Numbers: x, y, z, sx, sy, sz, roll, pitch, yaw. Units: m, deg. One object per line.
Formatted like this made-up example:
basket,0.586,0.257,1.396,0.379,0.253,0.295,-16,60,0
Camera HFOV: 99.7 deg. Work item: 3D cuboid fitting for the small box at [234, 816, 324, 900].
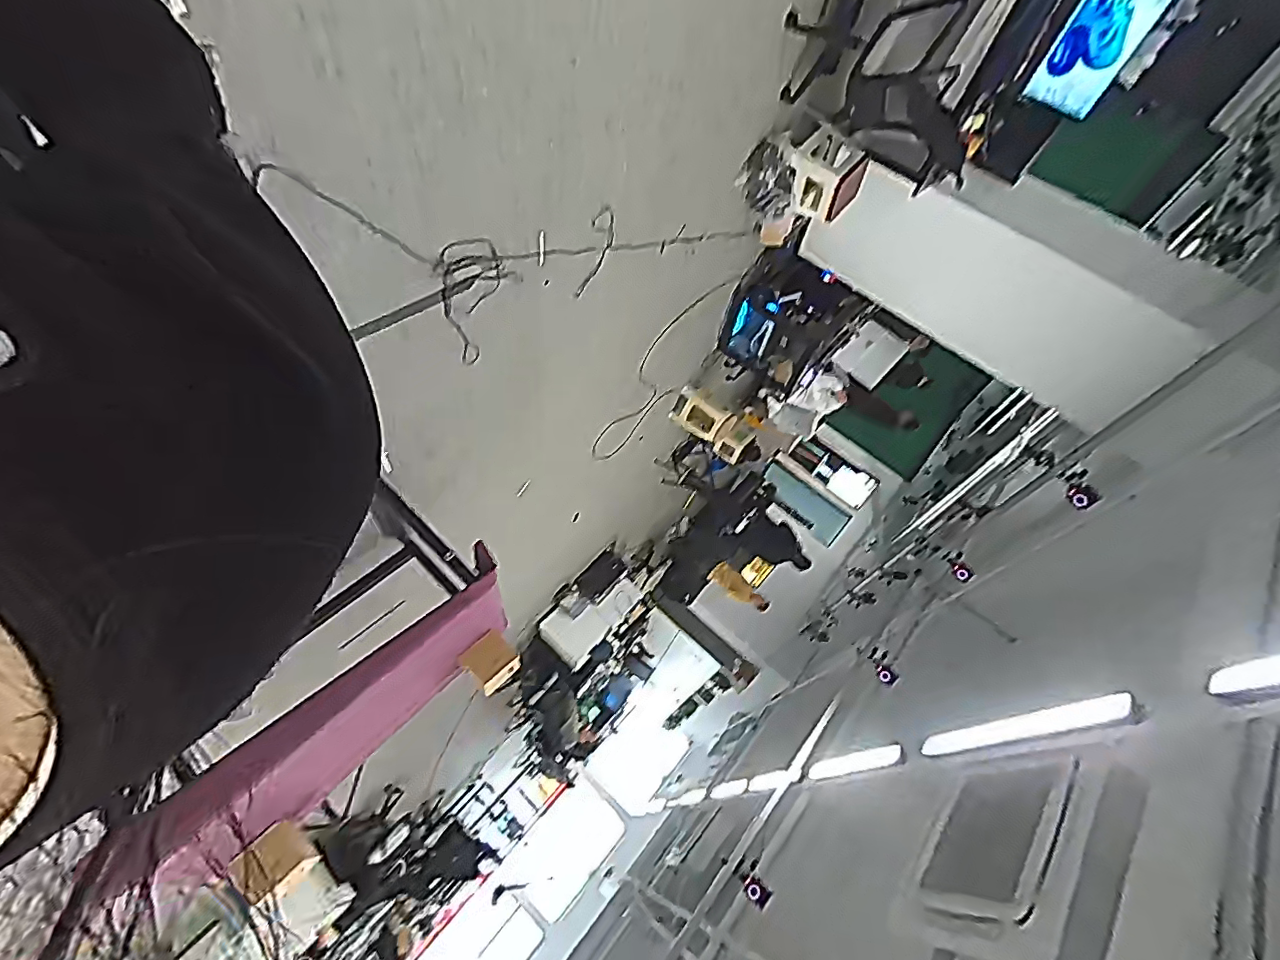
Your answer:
small box,-1.241,1.296,1.865,0.179,0.176,0.168,-40,160,-30

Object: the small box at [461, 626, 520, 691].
small box,-0.633,0.756,2.301,0.179,0.176,0.168,-39,159,-31
